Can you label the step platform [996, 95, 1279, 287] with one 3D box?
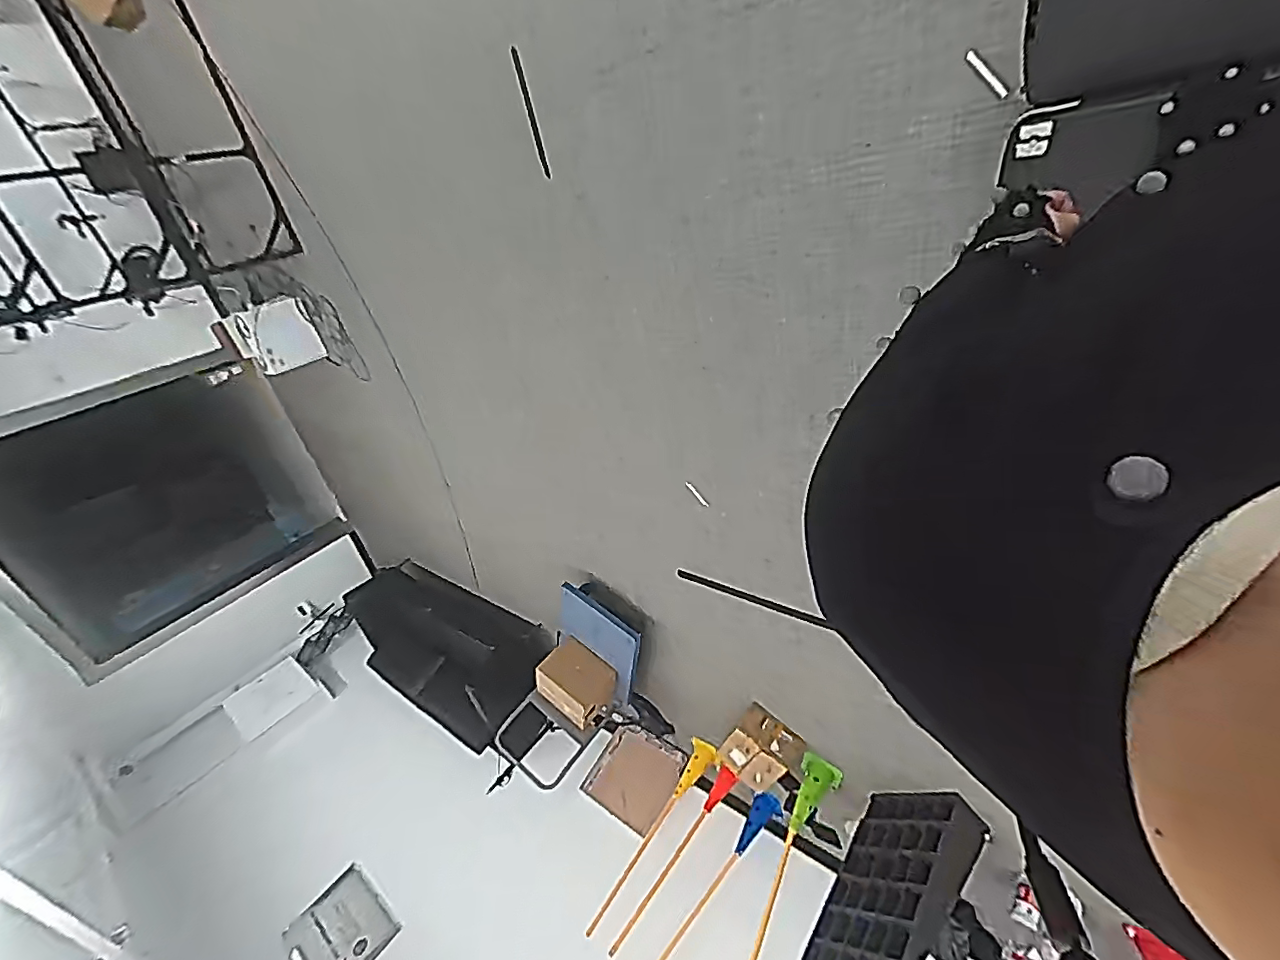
[{"bbox_3d":[1.025,-0.495,0.931,0.684,0.204,0.286,19,130,37],"label":"step platform"}]
